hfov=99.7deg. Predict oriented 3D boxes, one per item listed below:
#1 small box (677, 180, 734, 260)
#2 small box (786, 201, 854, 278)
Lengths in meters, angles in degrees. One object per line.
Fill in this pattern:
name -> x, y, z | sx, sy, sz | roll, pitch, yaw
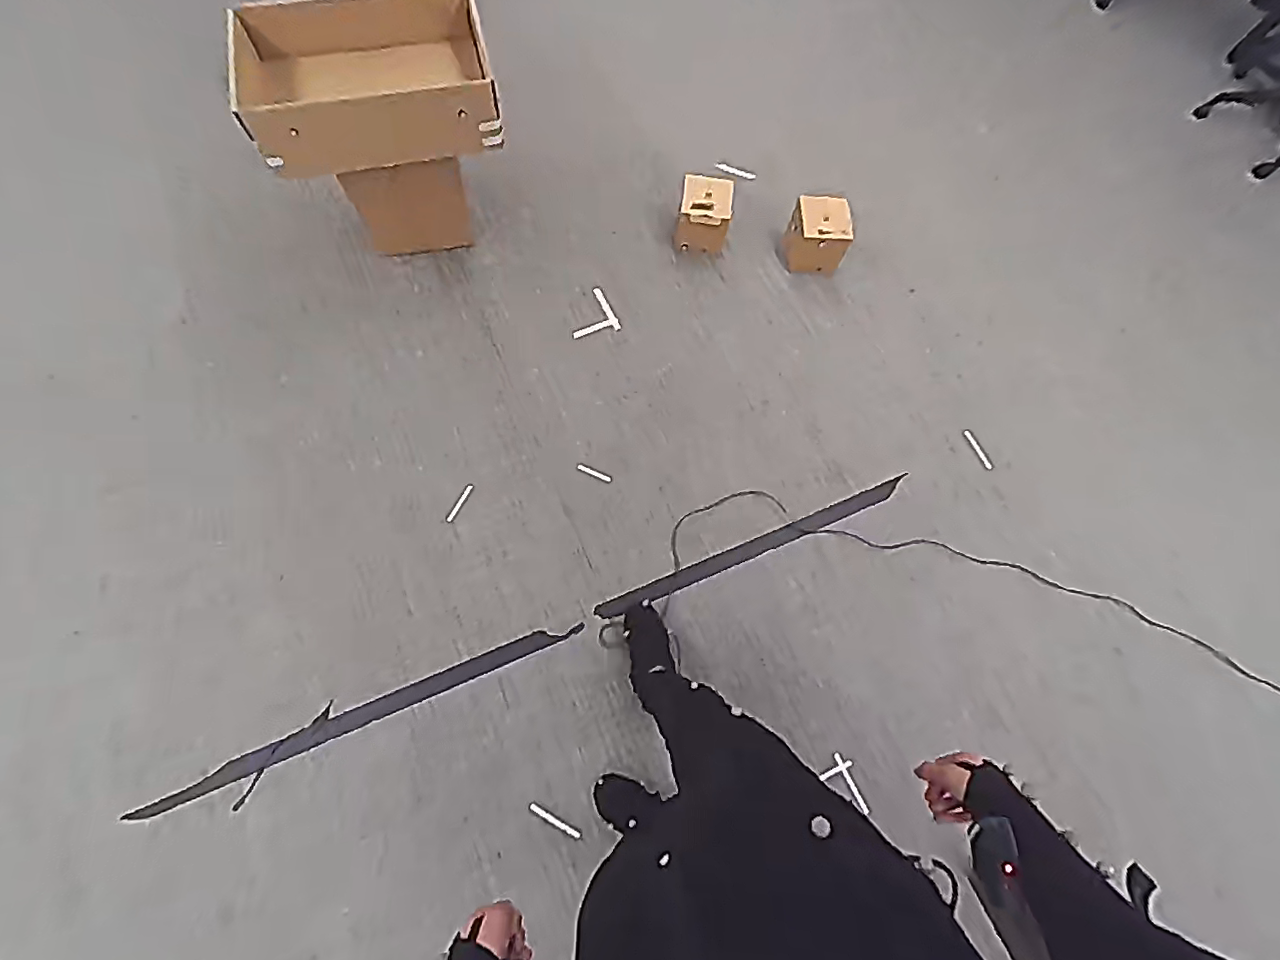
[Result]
small box -> 0.222, -0.890, 1.862 | 0.168, 0.176, 0.179 | 8, 70, -1
small box -> 0.613, -0.825, 1.862 | 0.168, 0.176, 0.179 | 1, 69, -3
